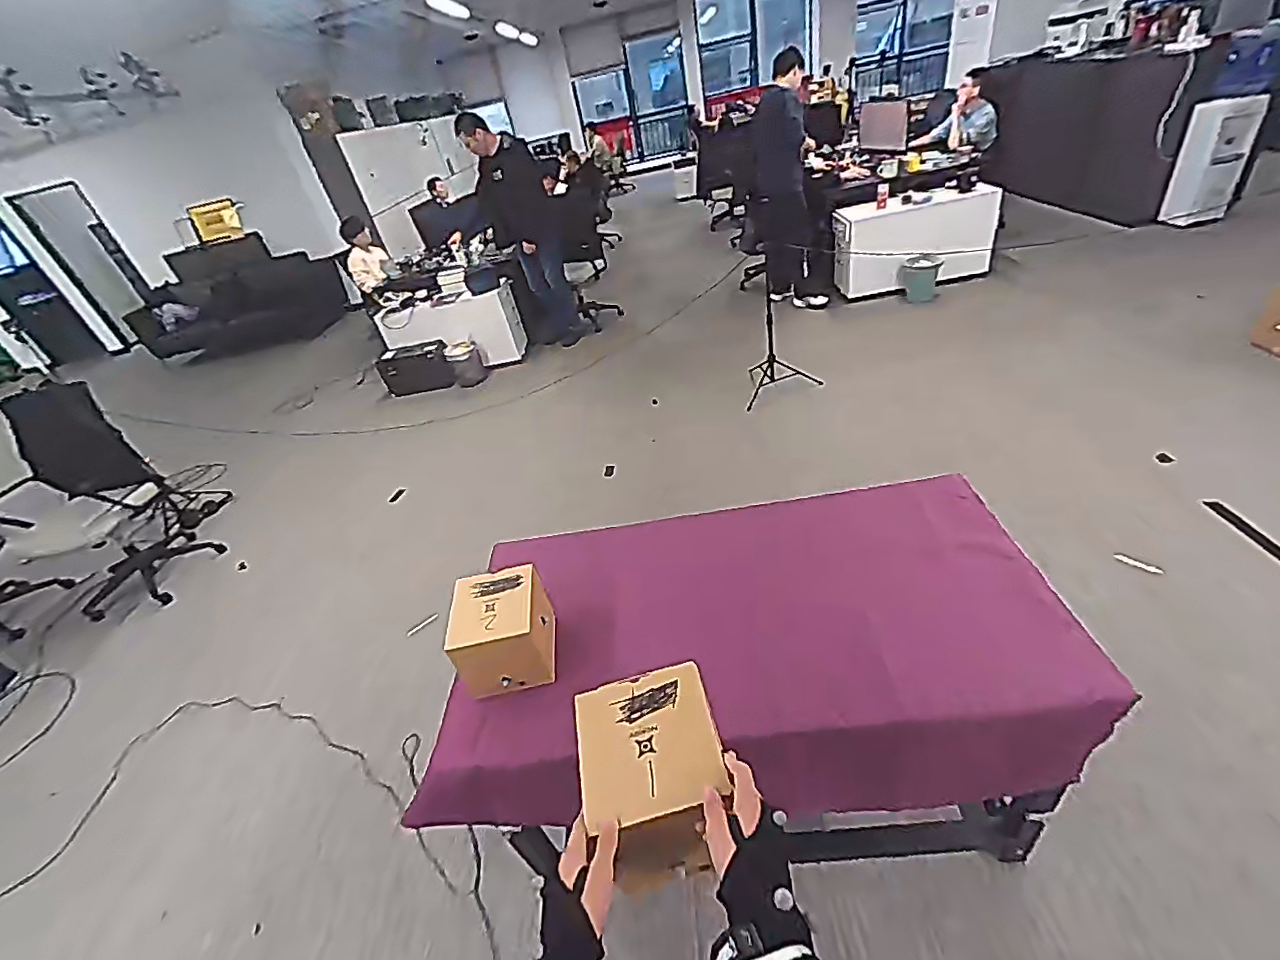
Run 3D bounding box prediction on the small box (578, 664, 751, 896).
[{"bbox_3d":[0.027,0.369,0.673,0.168,0.176,0.179,-17,33,1],"label":"small box"}]
